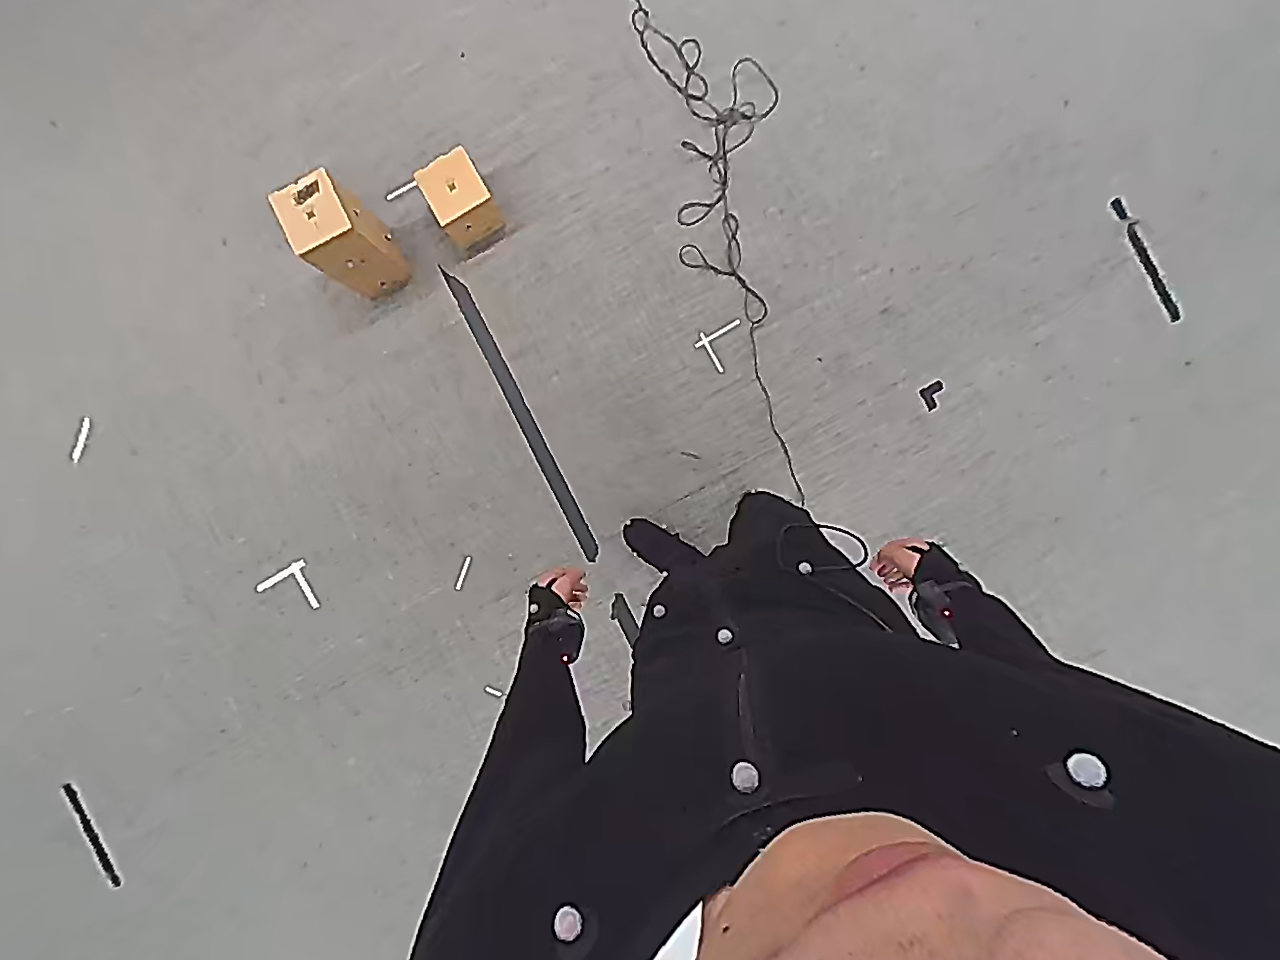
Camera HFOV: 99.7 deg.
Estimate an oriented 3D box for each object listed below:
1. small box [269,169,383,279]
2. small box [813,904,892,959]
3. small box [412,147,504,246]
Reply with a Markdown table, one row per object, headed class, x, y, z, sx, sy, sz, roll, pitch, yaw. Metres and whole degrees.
| class | x | y | z | sx | sy | sz | roll | pitch | yaw |
| --- | --- | --- | --- | --- | --- | --- | --- | --- | --- |
| small box | -0.830 | -0.675 | 1.444 | 0.168 | 0.176 | 0.179 | -26 | 89 | 2 |
| small box | 0.612 | 1.347 | 1.501 | 0.168 | 0.176 | 0.179 | -30 | 88 | 1 |
| small box | -0.528 | -0.823 | 1.599 | 0.168 | 0.176 | 0.179 | -30 | 88 | 2 |
